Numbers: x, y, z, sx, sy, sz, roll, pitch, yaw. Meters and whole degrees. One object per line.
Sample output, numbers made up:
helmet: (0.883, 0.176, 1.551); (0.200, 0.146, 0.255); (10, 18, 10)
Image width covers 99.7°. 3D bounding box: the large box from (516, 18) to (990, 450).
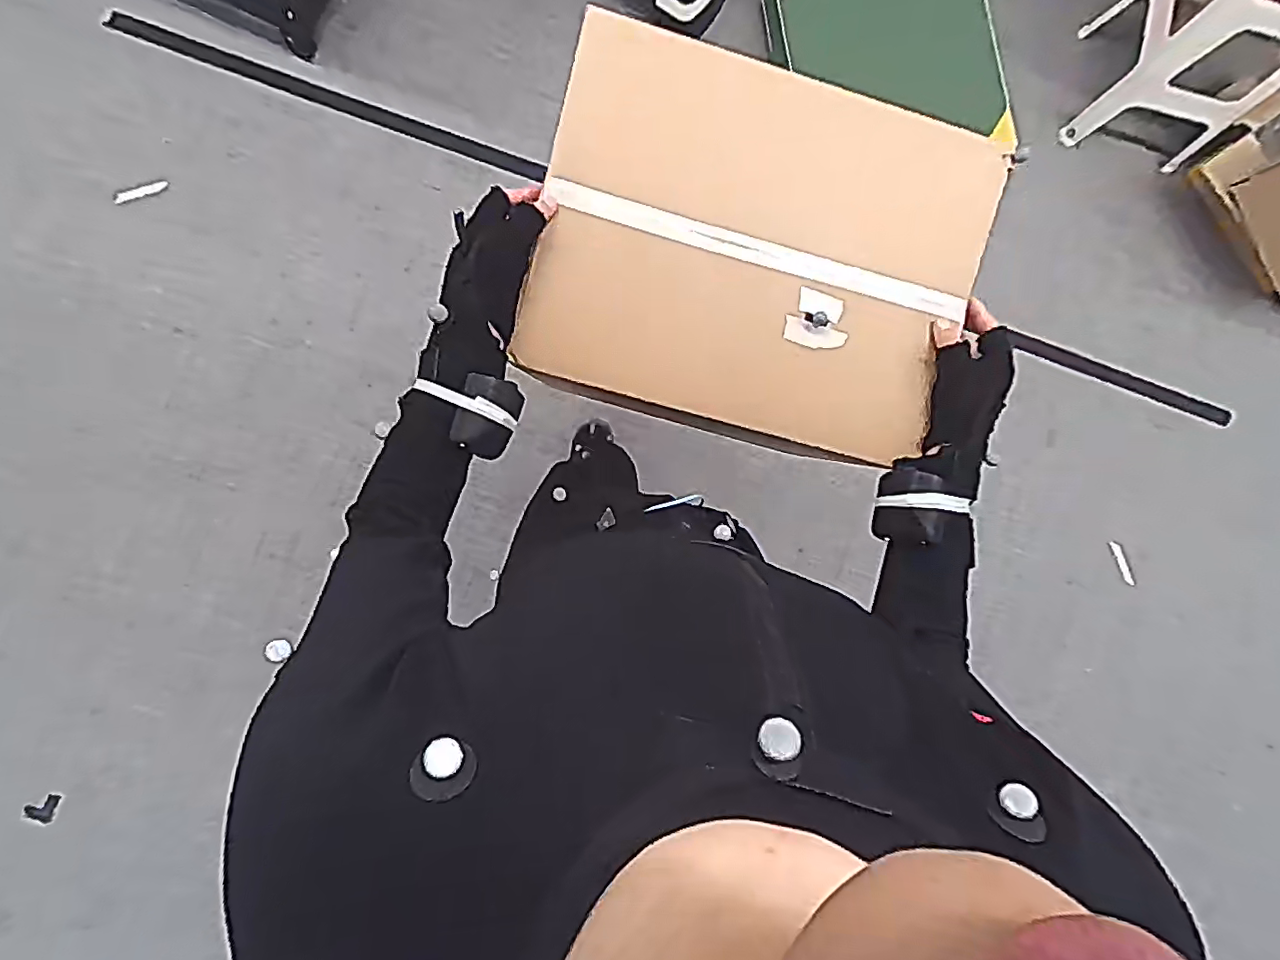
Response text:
large box: (0.097, -0.237, 0.659); (0.408, 0.320, 0.320); (15, 96, -5)
